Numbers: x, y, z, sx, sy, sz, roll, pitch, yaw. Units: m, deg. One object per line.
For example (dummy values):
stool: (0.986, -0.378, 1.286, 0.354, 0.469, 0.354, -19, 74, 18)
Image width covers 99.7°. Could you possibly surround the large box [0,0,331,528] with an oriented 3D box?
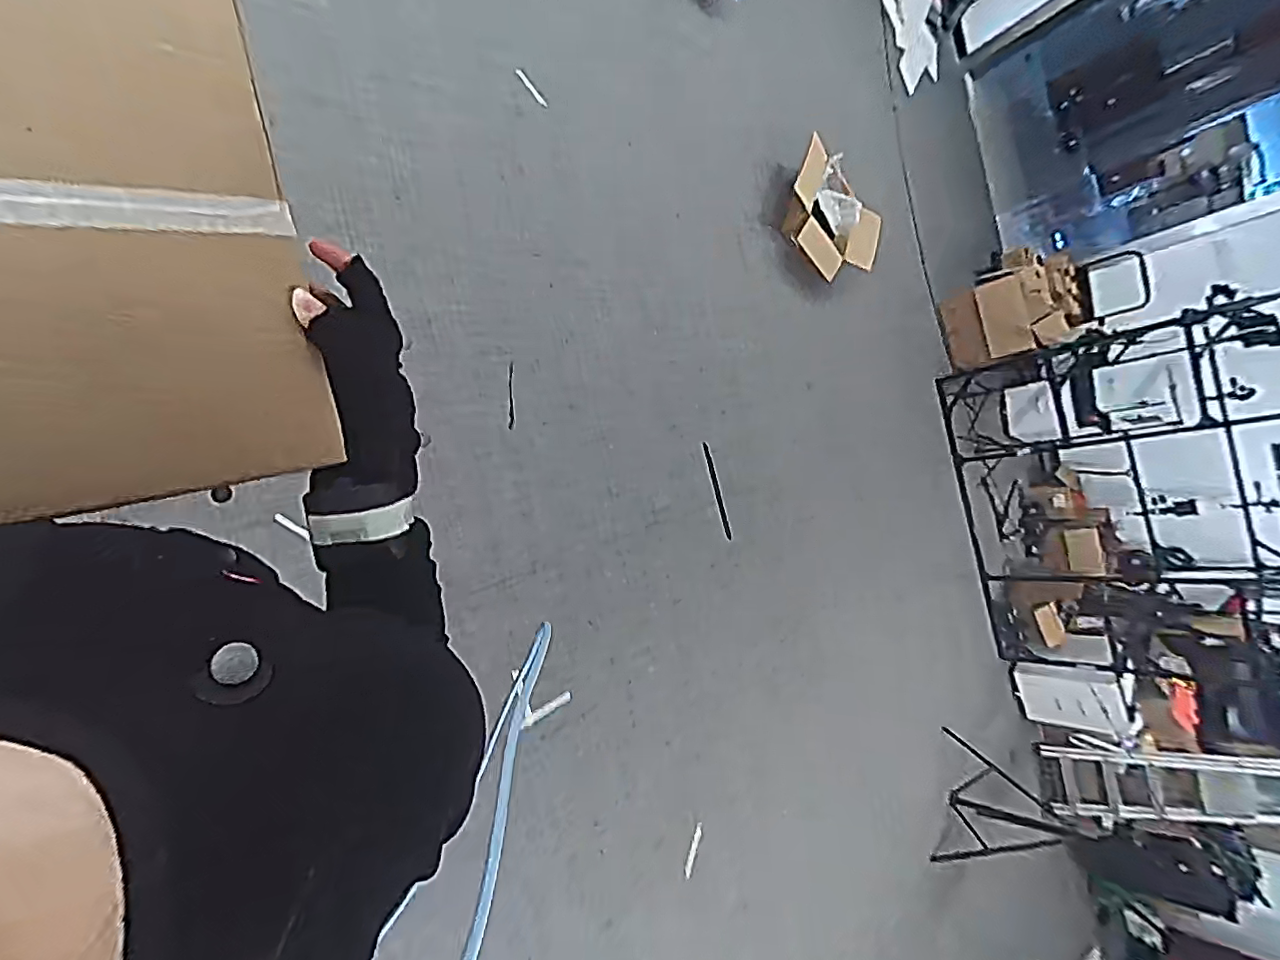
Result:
large box: (-0.480, -0.127, 0.339, 0.408, 0.320, 0.320, -17, 105, -39)
